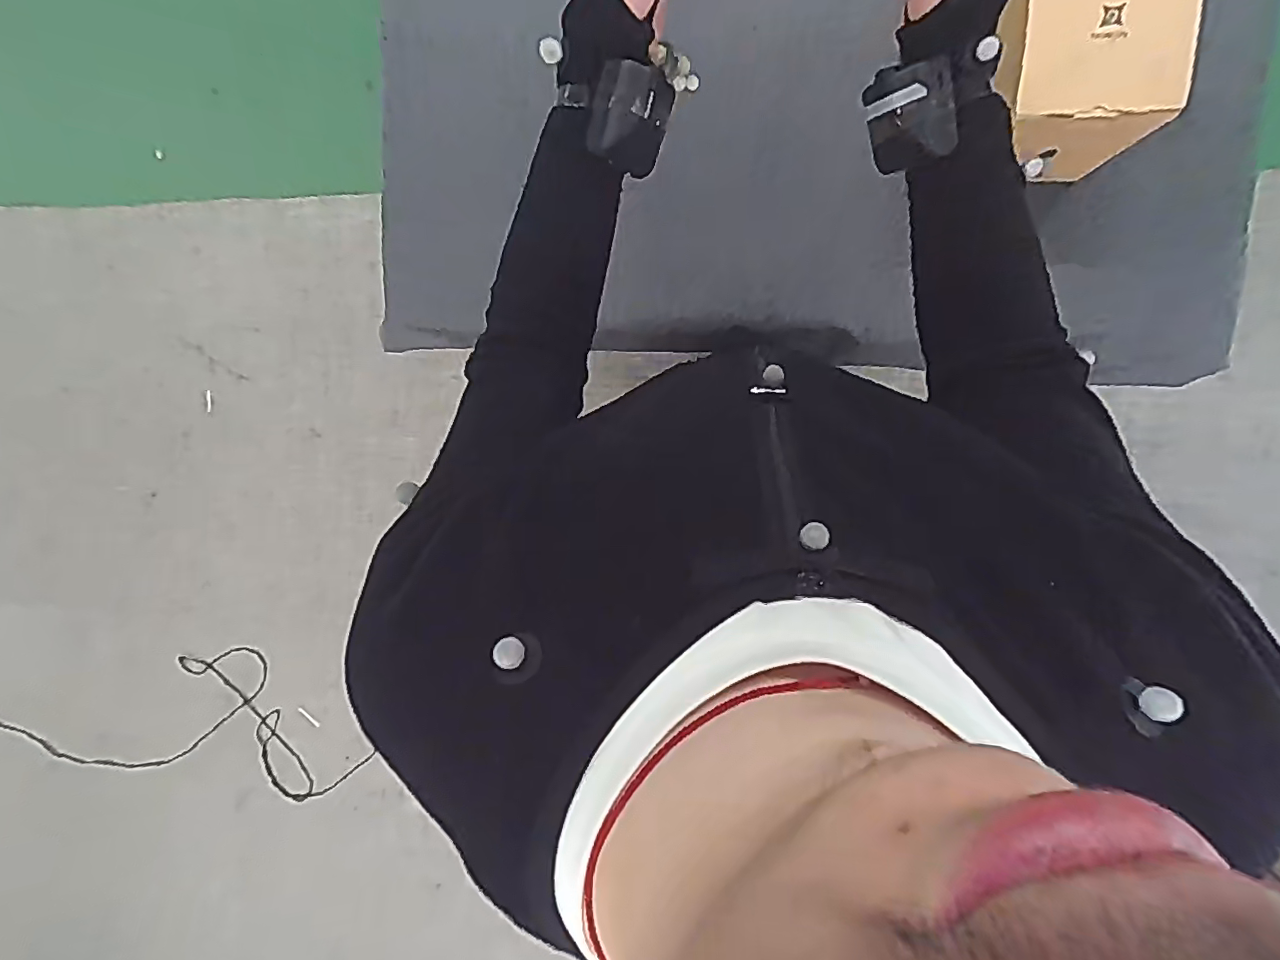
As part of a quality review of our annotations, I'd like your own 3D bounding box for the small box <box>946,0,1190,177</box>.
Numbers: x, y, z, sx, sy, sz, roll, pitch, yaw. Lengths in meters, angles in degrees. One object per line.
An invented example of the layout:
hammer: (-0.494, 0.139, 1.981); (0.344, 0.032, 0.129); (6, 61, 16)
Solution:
small box: (0.492, -0.483, 0.647); (0.168, 0.176, 0.179); (3, 99, 6)
